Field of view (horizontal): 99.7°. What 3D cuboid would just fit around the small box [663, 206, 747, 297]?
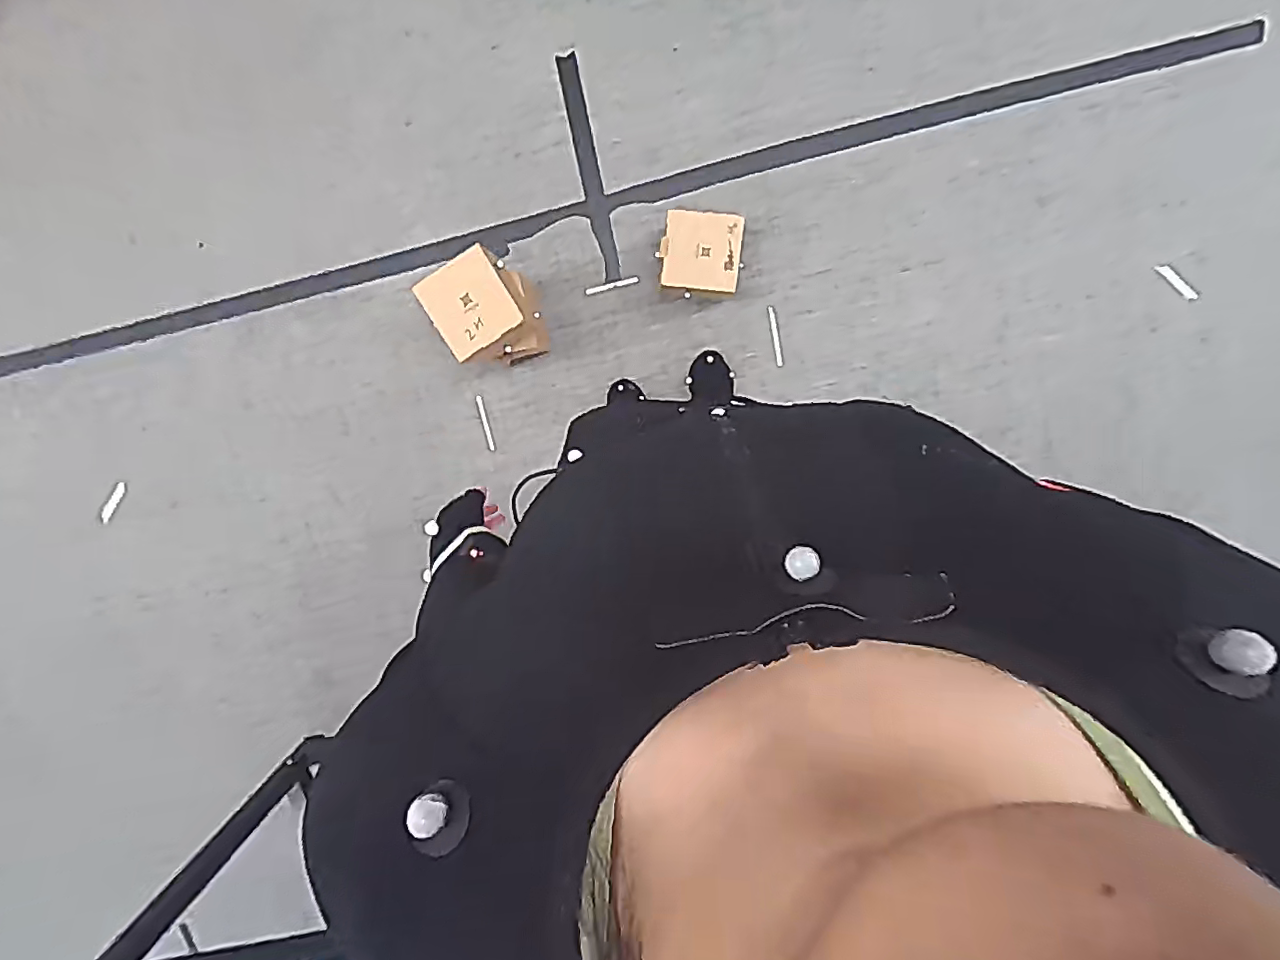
[{"bbox_3d":[0.149,-0.541,1.299,0.179,0.176,0.168,3,101,-1],"label":"small box"}]

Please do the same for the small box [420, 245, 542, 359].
[{"bbox_3d":[-0.335,-0.377,1.174,0.168,0.176,0.179,-26,102,8],"label":"small box"}]

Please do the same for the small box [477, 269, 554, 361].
[{"bbox_3d":[-0.324,-0.400,1.337,0.168,0.176,0.179,-14,100,4],"label":"small box"}]
